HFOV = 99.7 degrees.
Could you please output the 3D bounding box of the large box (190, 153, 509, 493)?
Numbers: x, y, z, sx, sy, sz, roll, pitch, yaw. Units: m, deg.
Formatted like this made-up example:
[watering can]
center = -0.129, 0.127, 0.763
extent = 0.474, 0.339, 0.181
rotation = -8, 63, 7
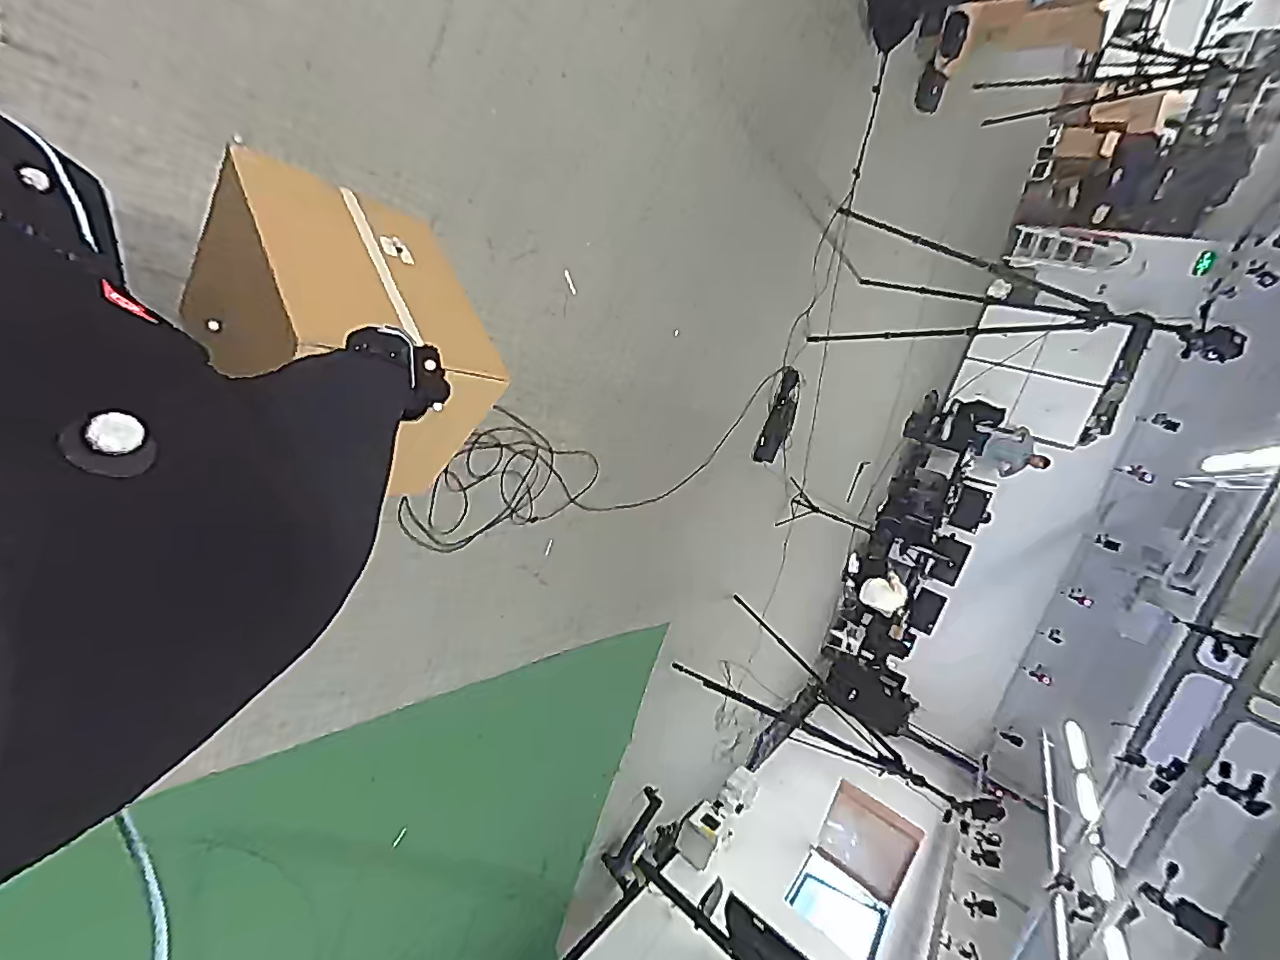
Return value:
[large box]
center = -0.492, -0.228, 0.901
extent = 0.320, 0.408, 0.320
rotation = -44, 155, 28
